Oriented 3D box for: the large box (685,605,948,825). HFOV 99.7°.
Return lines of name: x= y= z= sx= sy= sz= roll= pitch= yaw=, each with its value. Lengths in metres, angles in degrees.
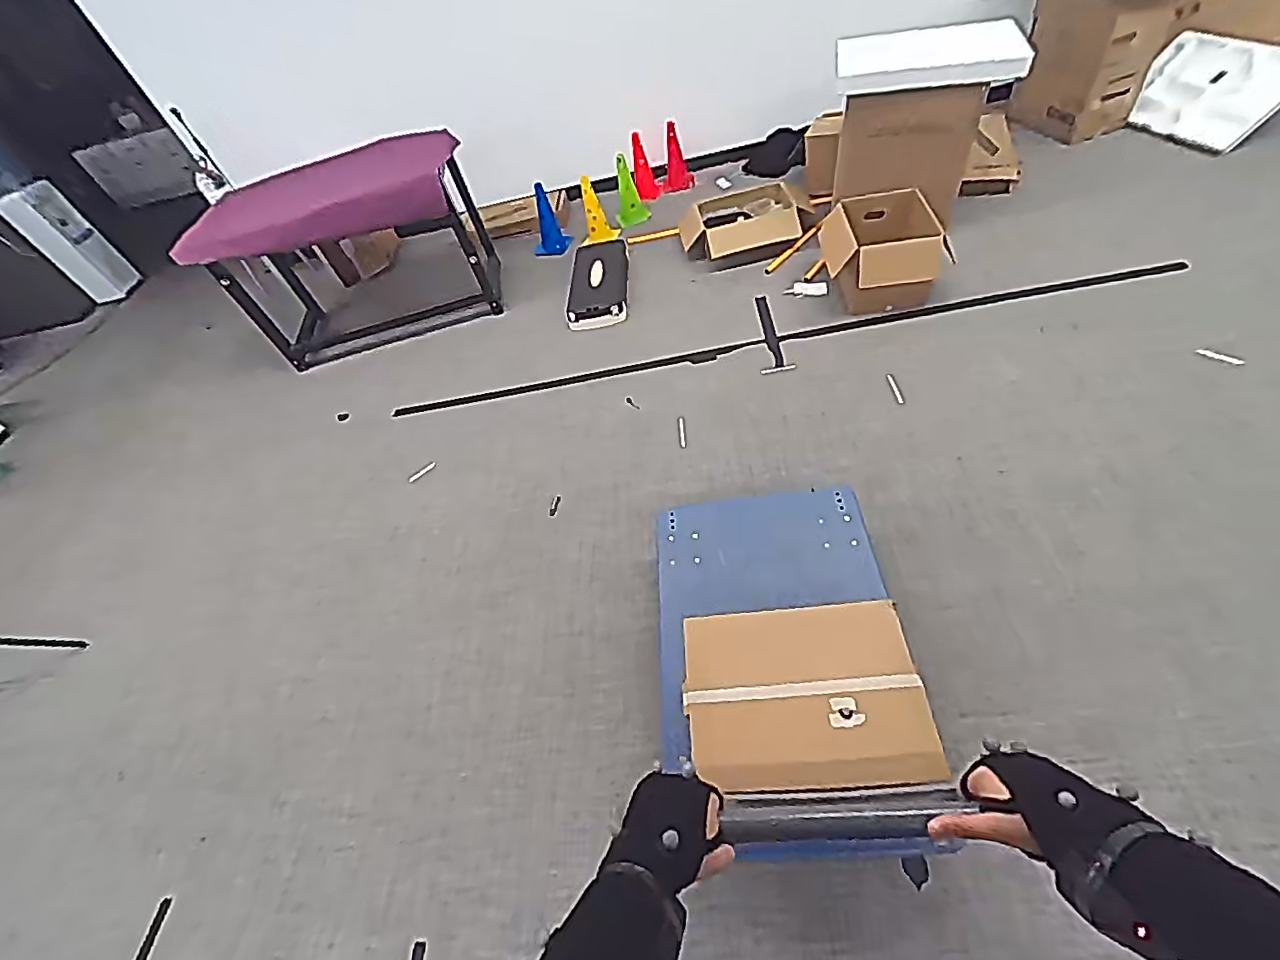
large box: x=0.316 y=0.480 z=1.085 sx=0.408 sy=0.320 sz=0.320 roll=-8 pitch=51 yaw=7
